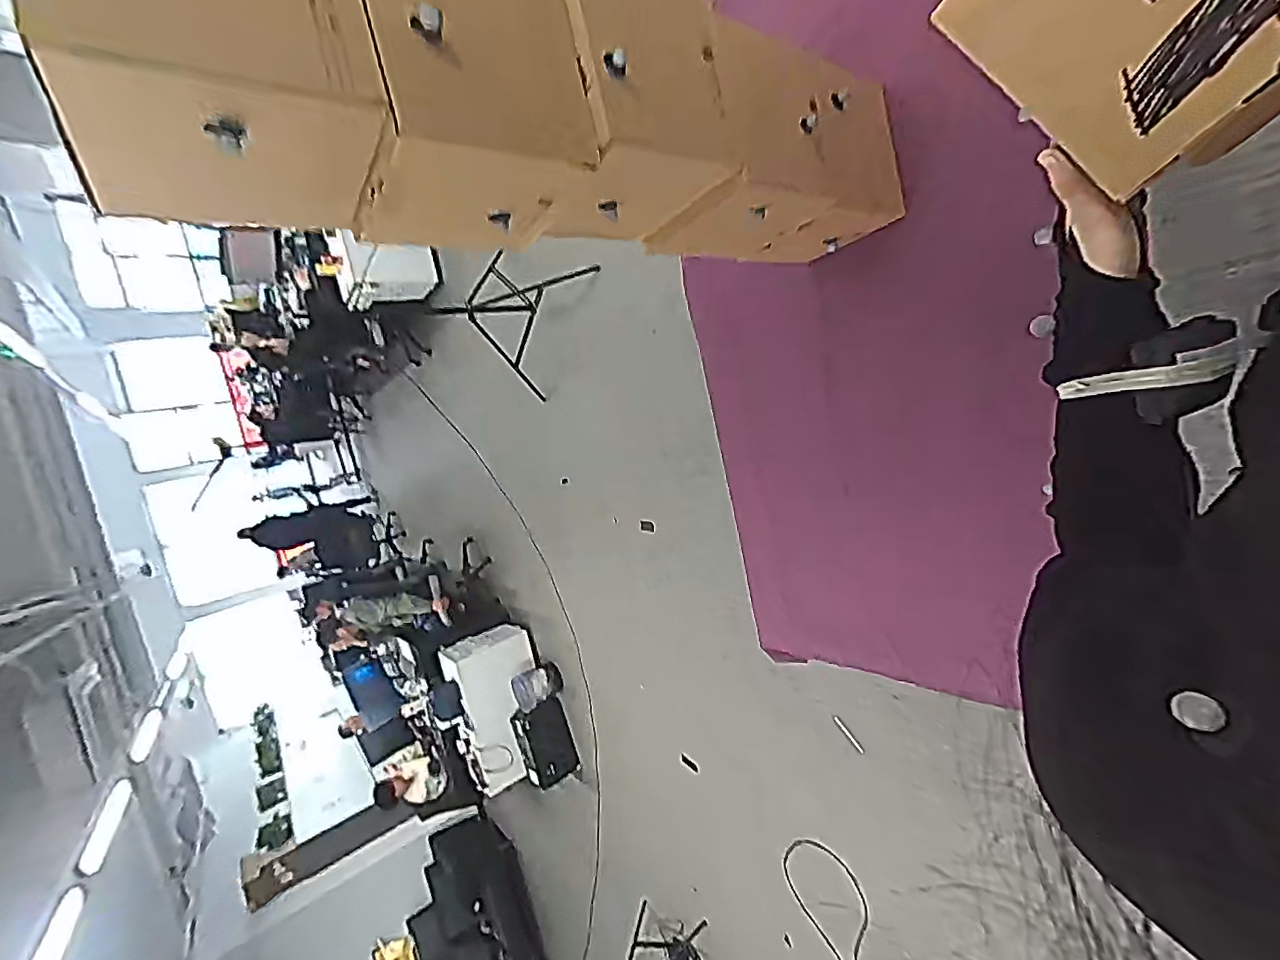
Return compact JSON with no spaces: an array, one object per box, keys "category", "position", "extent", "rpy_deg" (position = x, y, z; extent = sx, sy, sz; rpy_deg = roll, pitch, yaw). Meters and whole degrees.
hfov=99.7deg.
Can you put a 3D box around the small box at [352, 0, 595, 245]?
[{"category":"small box","position":[-0.163,-0.321,0.465],"extent":[0.168,0.176,0.179],"rpy_deg":[-9,96,54]}]

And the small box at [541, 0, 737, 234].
[{"category":"small box","position":[-0.030,-0.366,0.550],"extent":[0.179,0.176,0.168],"rpy_deg":[-8,97,54]}]

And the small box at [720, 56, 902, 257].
[{"category":"small box","position":[0.229,-0.422,0.741],"extent":[0.168,0.176,0.179],"rpy_deg":[-7,98,55]}]

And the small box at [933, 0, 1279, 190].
[{"category":"small box","position":[0.330,-0.314,0.324],"extent":[0.179,0.176,0.168],"rpy_deg":[54,144,8]}]

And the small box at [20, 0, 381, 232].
[{"category":"small box","position":[-0.294,-0.293,0.373],"extent":[0.179,0.176,0.168],"rpy_deg":[-11,93,55]}]
